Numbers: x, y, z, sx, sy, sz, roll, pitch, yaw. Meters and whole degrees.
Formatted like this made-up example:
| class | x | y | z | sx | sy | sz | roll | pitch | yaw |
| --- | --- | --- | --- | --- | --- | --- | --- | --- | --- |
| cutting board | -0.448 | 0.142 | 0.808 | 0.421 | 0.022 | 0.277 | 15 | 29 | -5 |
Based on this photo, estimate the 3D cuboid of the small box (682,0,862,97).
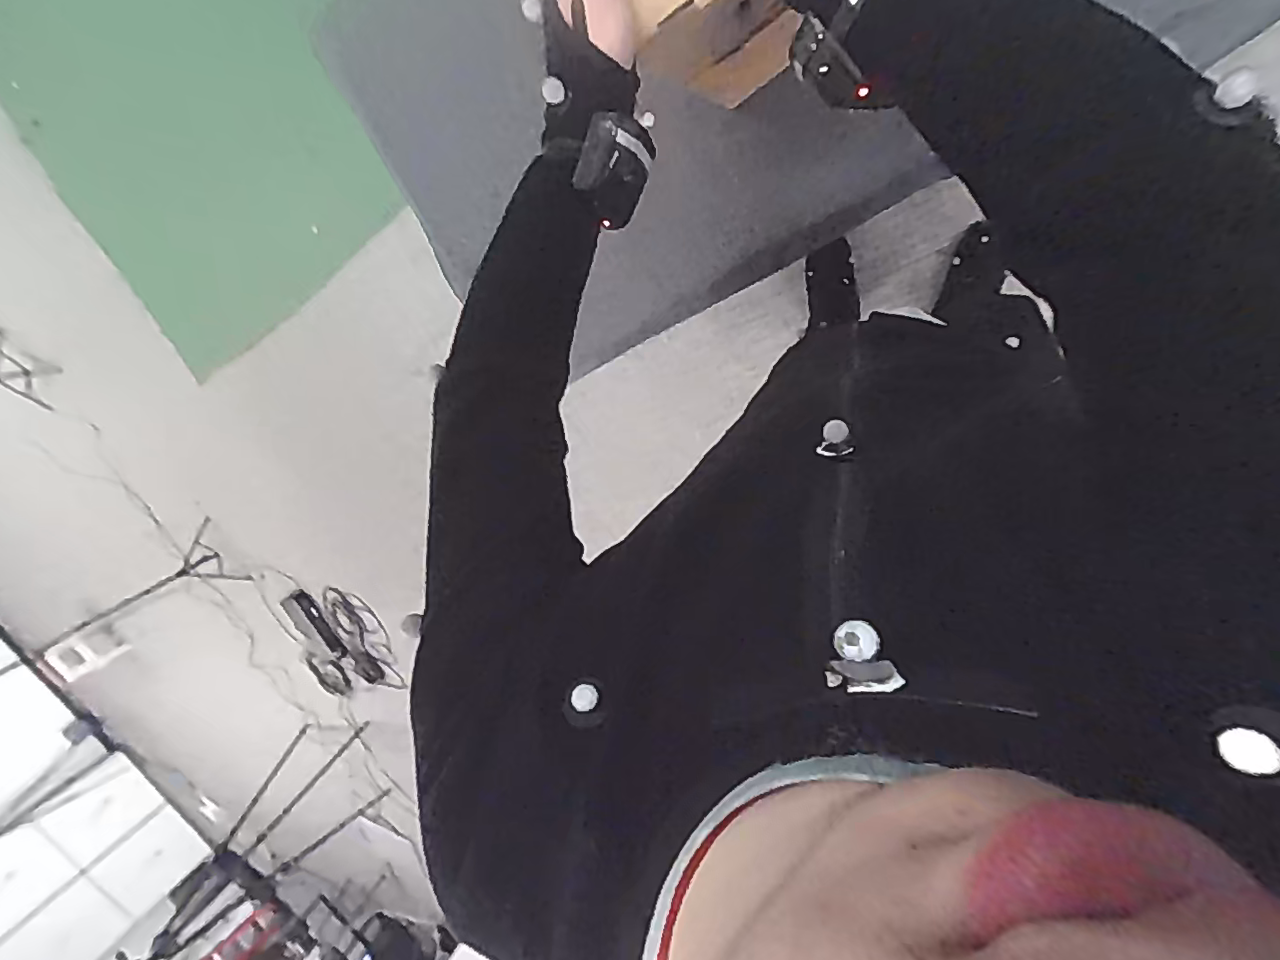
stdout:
| class | x | y | z | sx | sy | sz | roll | pitch | yaw |
| --- | --- | --- | --- | --- | --- | --- | --- | --- | --- |
| small box | 0.104 | -0.510 | 0.525 | 0.168 | 0.176 | 0.179 | -21 | 105 | 32 |

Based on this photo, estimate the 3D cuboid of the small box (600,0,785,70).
| class | x | y | z | sx | sy | sz | roll | pitch | yaw |
| --- | --- | --- | --- | --- | --- | --- | --- | --- | --- |
| small box | 0.042 | -0.439 | 0.394 | 0.168 | 0.176 | 0.179 | -20 | 111 | 28 |
